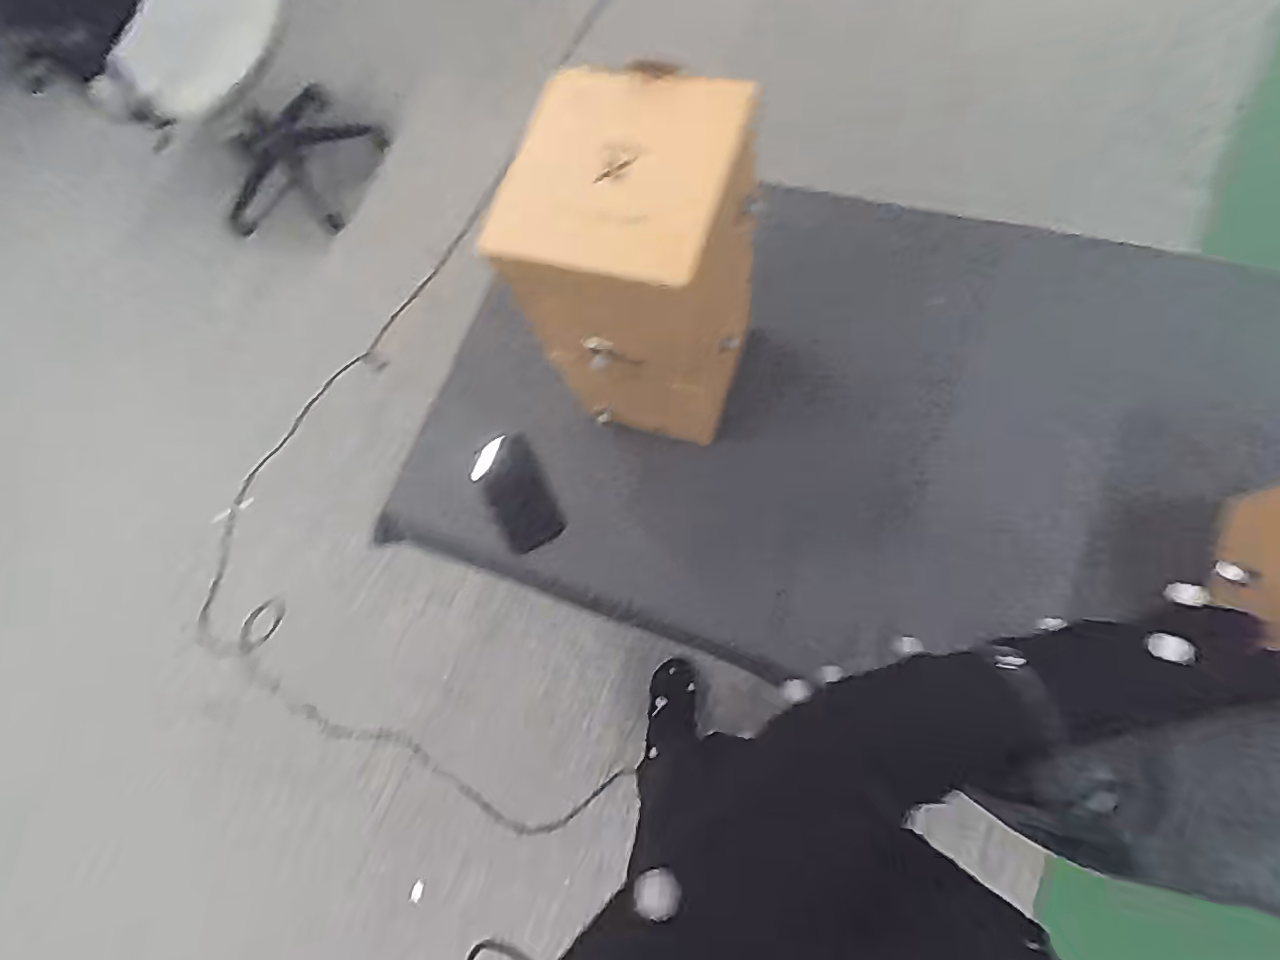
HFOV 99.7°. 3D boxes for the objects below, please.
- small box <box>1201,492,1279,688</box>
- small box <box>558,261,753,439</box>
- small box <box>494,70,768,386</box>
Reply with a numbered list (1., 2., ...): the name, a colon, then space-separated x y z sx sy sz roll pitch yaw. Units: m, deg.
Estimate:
1. small box: 0.631 0.107 0.446 0.168 0.176 0.179 20 79 15
2. small box: 0.031 -0.166 0.631 0.168 0.176 0.179 17 78 14
3. small box: 0.006 -0.208 0.476 0.168 0.176 0.179 16 80 15
